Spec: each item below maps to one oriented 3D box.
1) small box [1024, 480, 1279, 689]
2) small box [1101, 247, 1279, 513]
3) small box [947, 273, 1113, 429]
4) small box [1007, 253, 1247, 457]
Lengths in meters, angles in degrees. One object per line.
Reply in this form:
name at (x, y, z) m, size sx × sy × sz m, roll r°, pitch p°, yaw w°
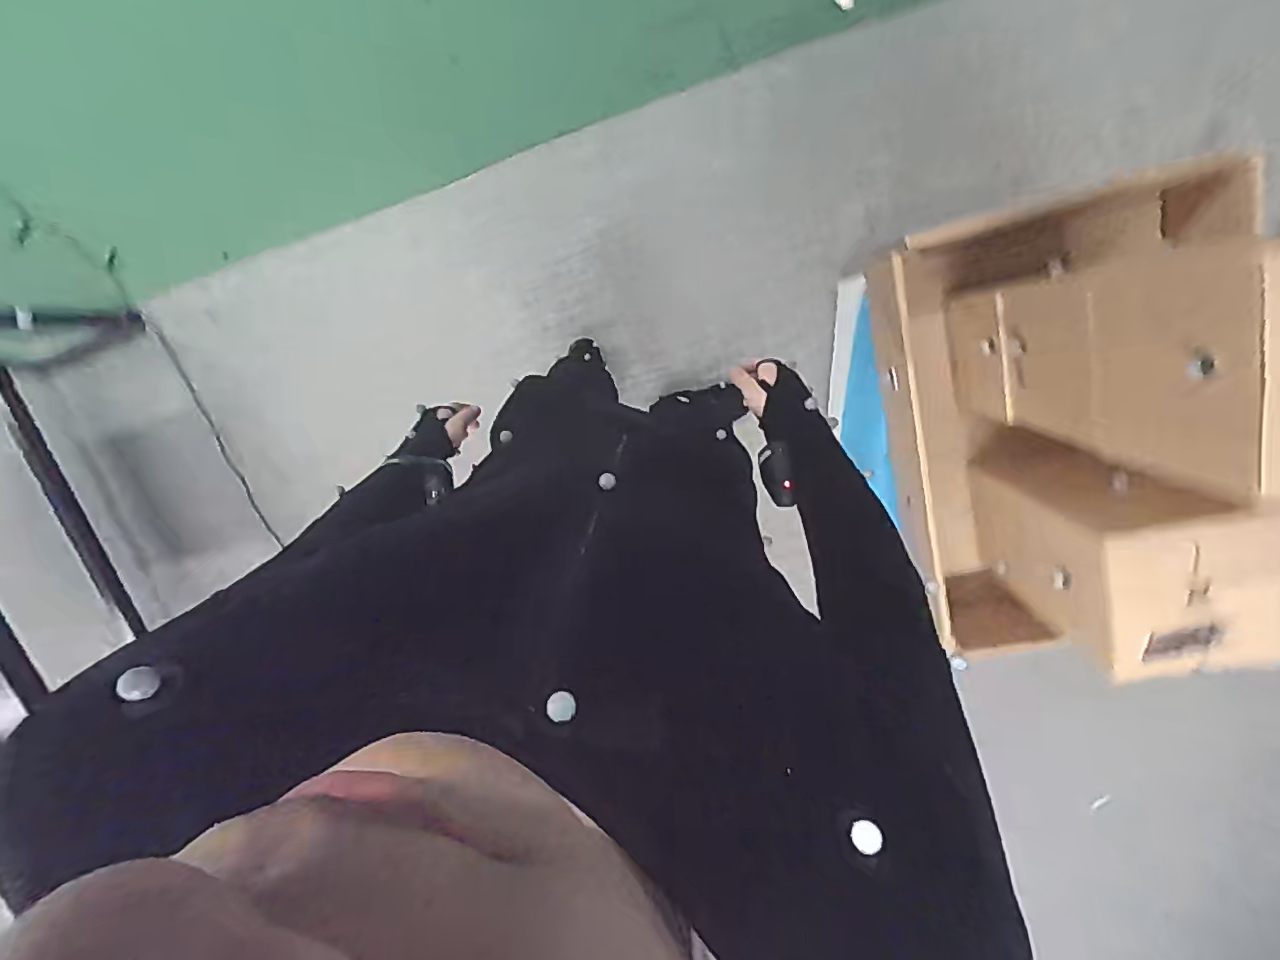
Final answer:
small box at (0.591, 0.115, 0.640) m, size 0.168 × 0.176 × 0.179 m, roll -12°, pitch 102°, yaw 11°
small box at (0.507, -0.092, 0.426) m, size 0.168 × 0.176 × 0.179 m, roll -11°, pitch 103°, yaw 11°
small box at (0.552, -0.179, 0.737) m, size 0.179 × 0.176 × 0.168 m, roll -11°, pitch 103°, yaw 11°
small box at (0.534, -0.137, 0.581) m, size 0.179 × 0.176 × 0.168 m, roll -11°, pitch 104°, yaw 11°
